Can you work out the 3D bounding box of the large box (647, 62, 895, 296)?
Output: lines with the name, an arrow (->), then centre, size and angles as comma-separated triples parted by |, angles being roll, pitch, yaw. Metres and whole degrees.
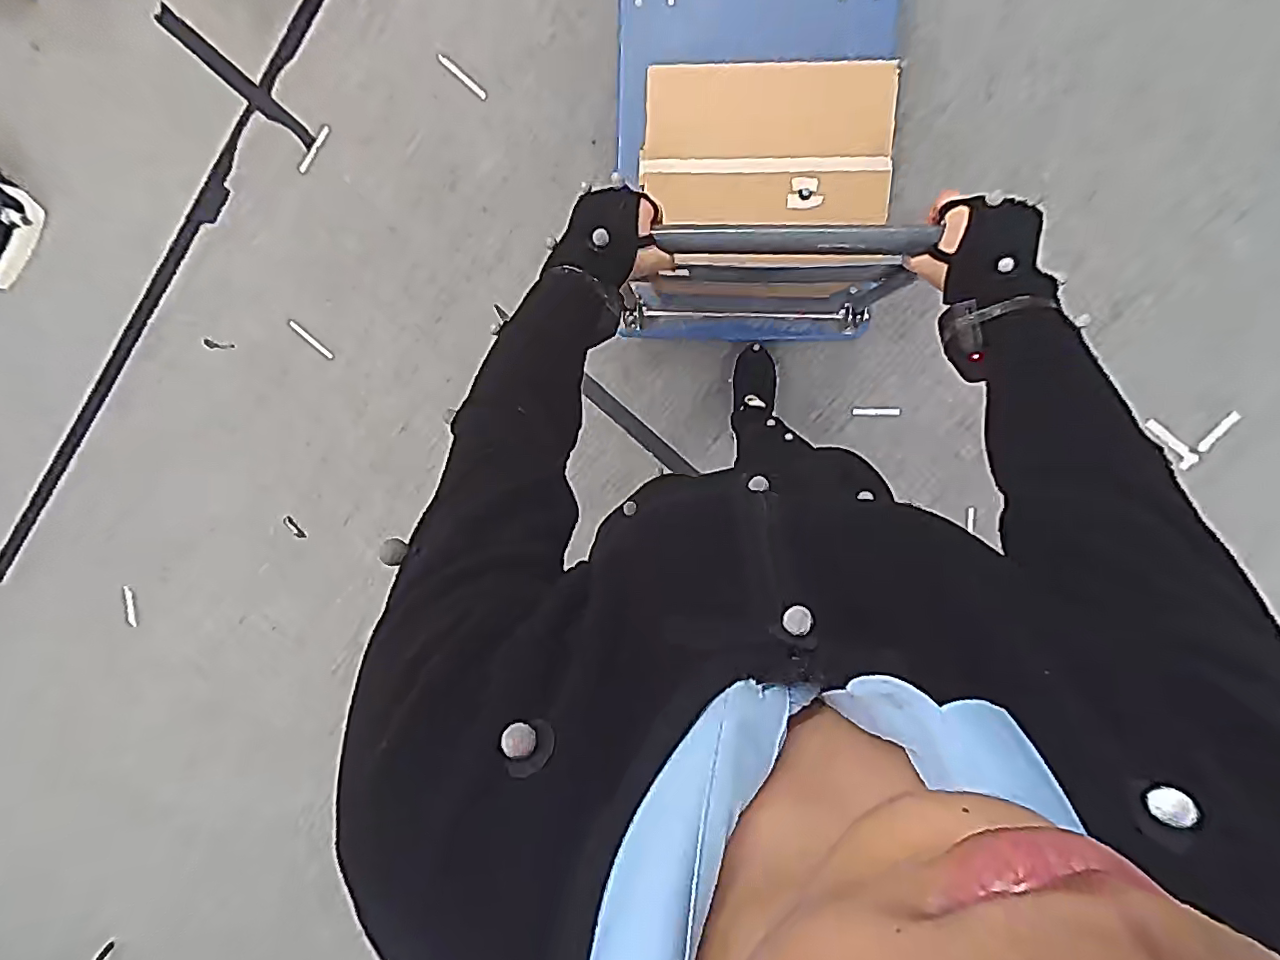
large box -> 0.220, -0.547, 1.050 | 0.408, 0.320, 0.320 | 2, 100, 4
